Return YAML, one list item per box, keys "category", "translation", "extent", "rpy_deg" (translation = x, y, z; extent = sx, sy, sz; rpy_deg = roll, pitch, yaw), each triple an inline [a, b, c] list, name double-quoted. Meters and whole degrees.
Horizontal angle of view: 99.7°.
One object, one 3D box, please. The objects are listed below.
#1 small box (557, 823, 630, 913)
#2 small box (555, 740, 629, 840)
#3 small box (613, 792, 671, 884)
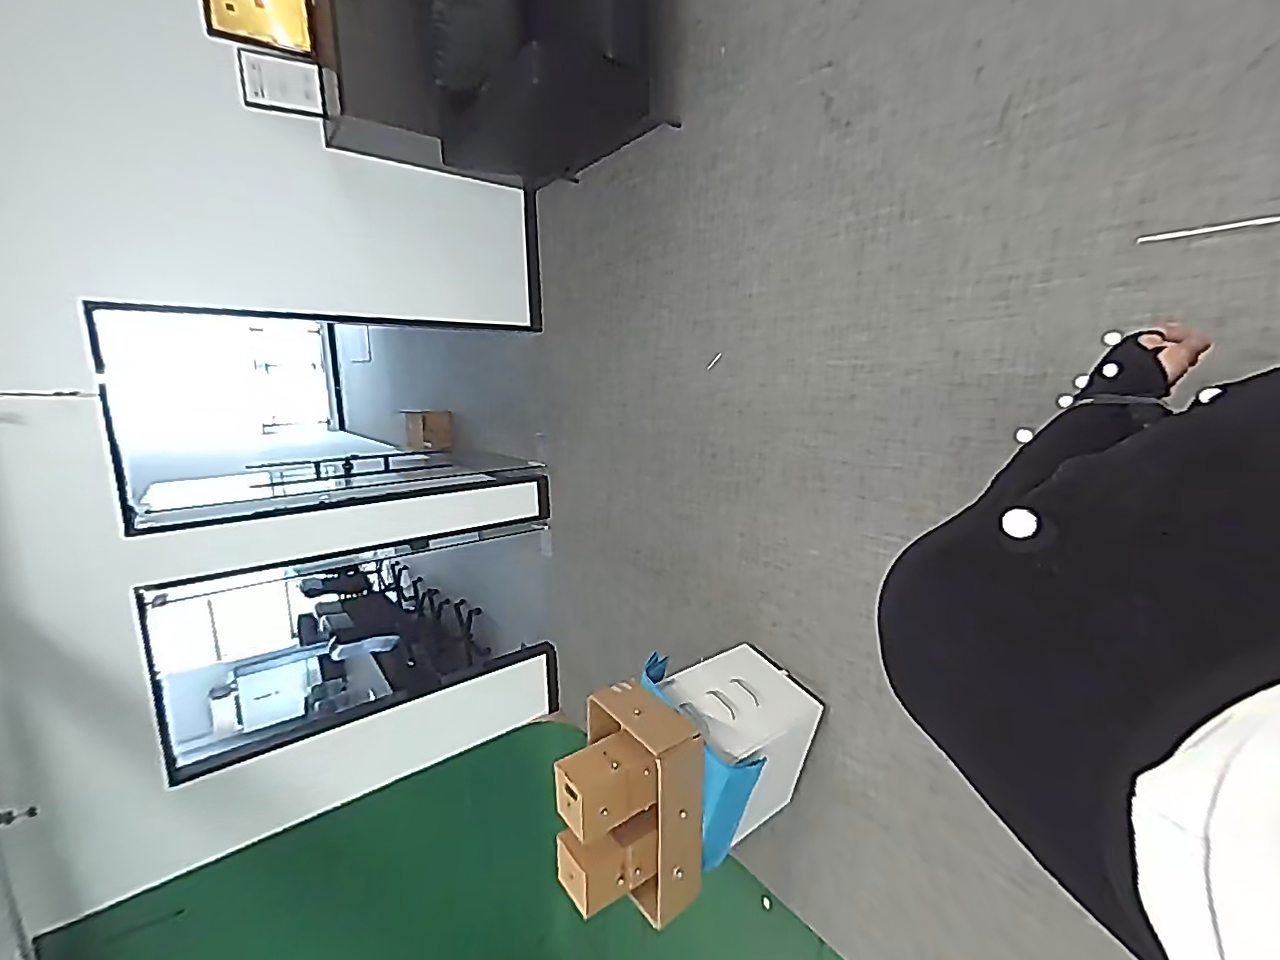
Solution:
- category: "small box"
  translation: [-0.150, 1.199, 1.717]
  extent: [0.179, 0.176, 0.168]
  rpy_deg: [15, 107, 52]
- category: "small box"
  translation: [-0.146, 0.940, 1.662]
  extent: [0.168, 0.176, 0.179]
  rpy_deg: [14, 109, 53]
- category: "small box"
  translation: [-0.015, 1.182, 1.808]
  extent: [0.179, 0.176, 0.168]
  rpy_deg: [15, 108, 53]
